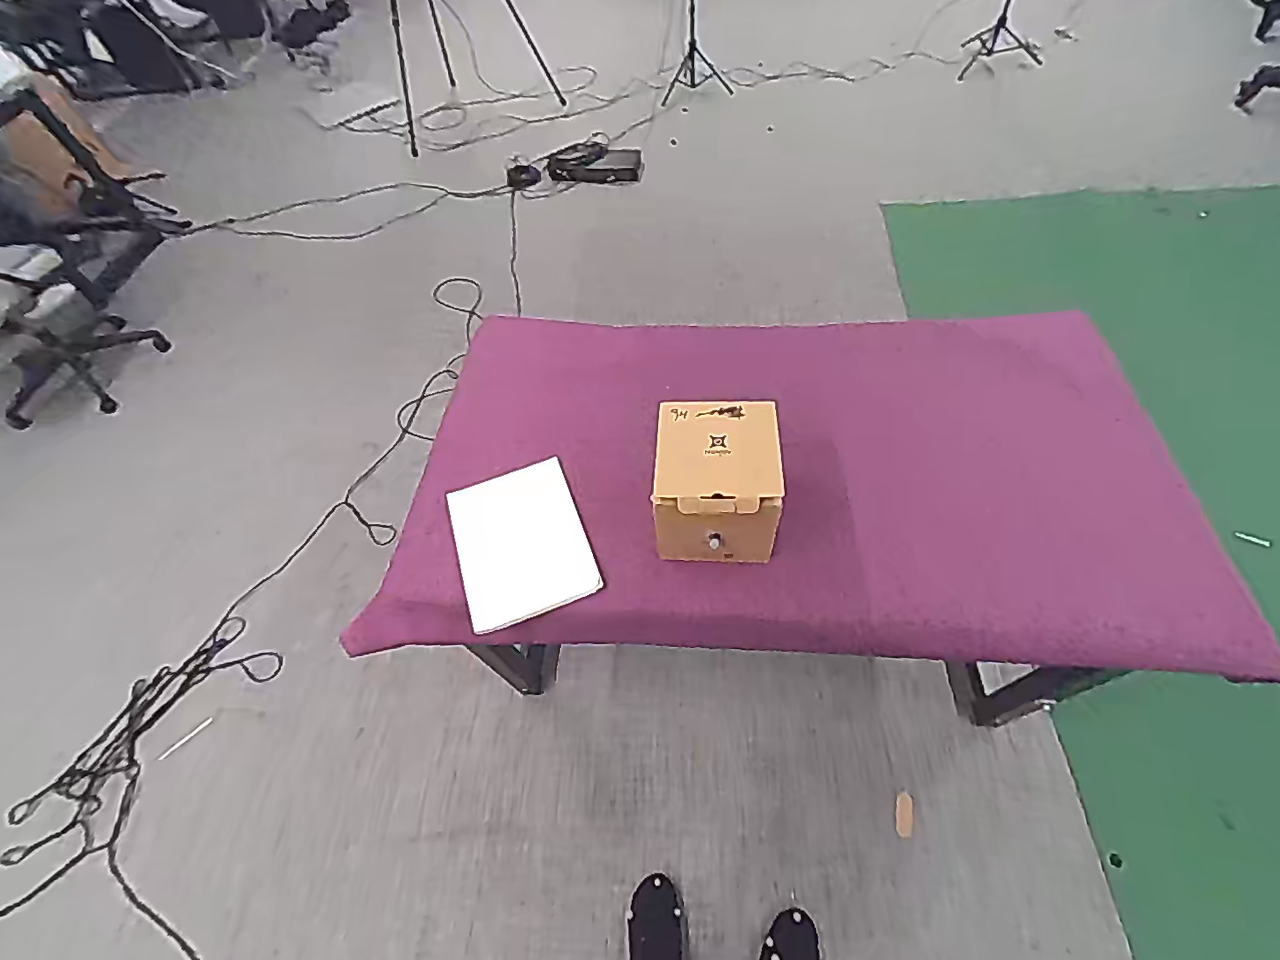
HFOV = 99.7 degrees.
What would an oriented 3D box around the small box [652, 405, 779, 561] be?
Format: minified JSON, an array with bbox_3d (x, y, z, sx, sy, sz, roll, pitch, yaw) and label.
[{"bbox_3d":[0.112,0.008,0.801,0.168,0.176,0.179,1,56,7],"label":"small box"}]
